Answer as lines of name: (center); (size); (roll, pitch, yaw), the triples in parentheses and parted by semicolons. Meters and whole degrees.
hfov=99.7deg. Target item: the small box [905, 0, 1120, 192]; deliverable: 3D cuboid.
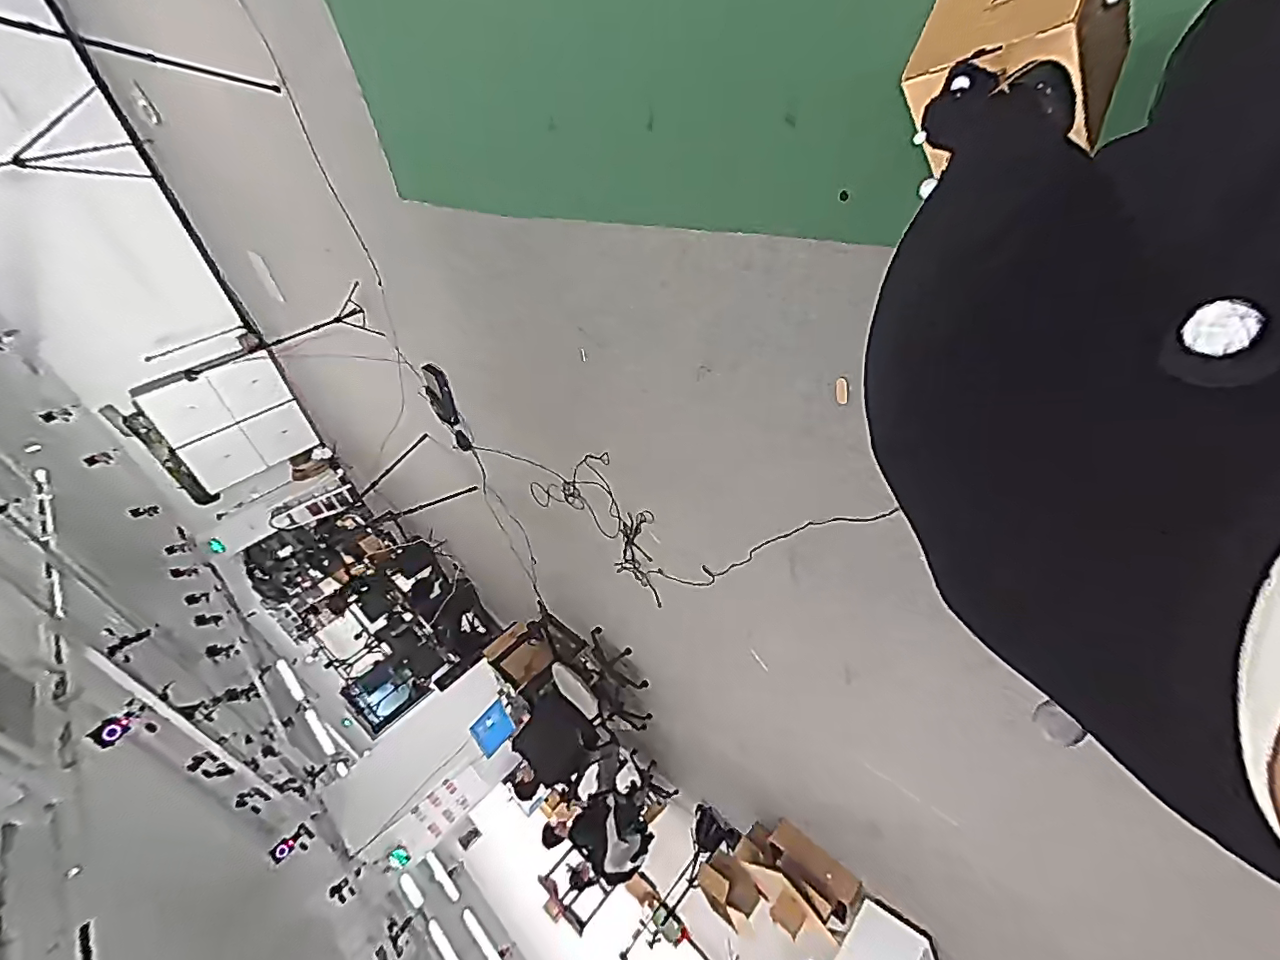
small box: (0.453, -0.492, 0.654); (0.168, 0.179, 0.176); (15, 166, 47)
